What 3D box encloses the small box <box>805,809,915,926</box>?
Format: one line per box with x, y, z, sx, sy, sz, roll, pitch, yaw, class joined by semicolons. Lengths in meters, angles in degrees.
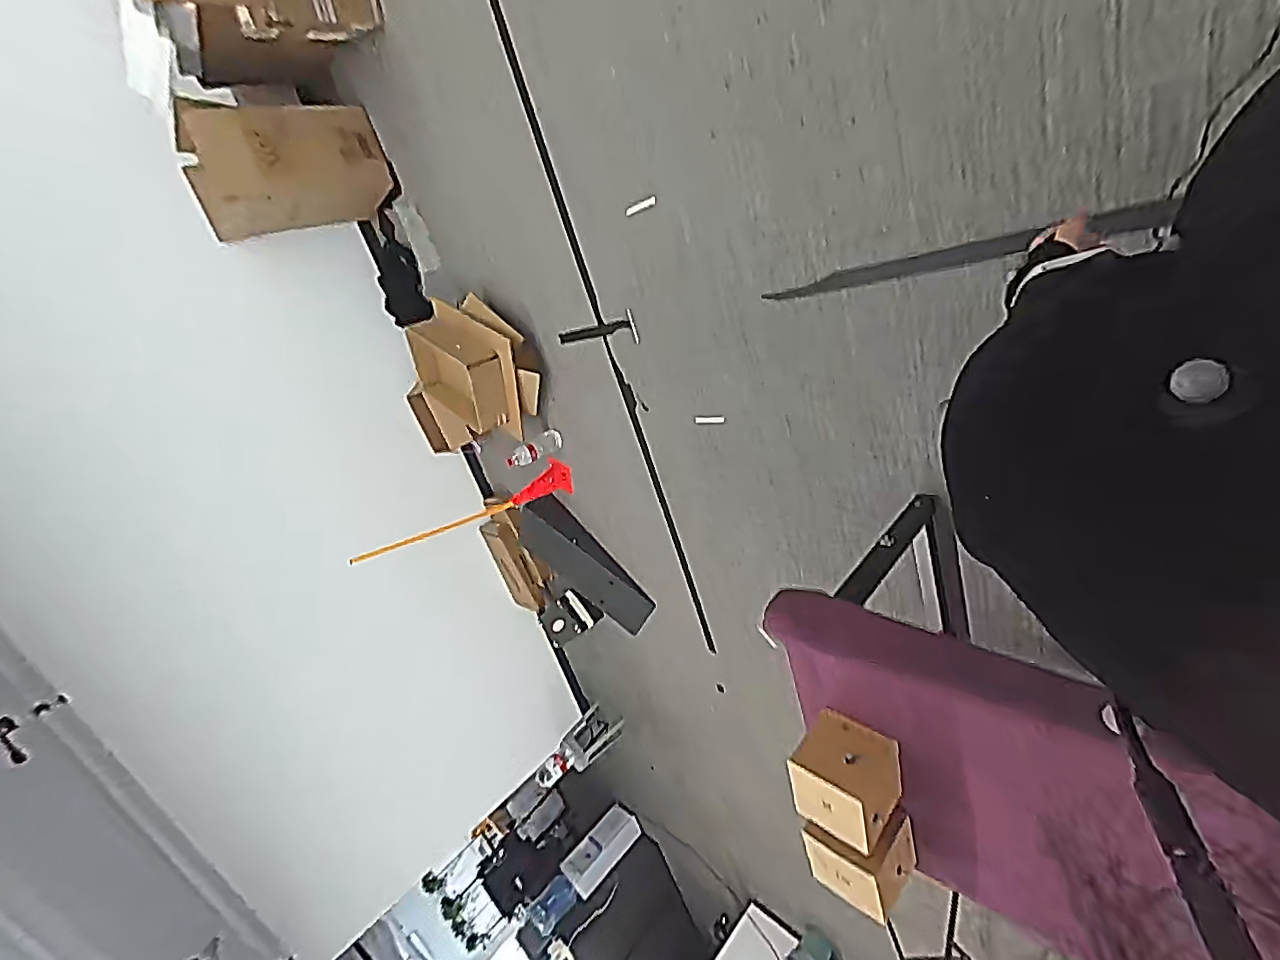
0.509;0.841;1.235;0.179;0.176;0.168;8;122;49;small box

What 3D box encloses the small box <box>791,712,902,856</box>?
0.447;0.640;1.161;0.168;0.176;0.179;11;126;45;small box
